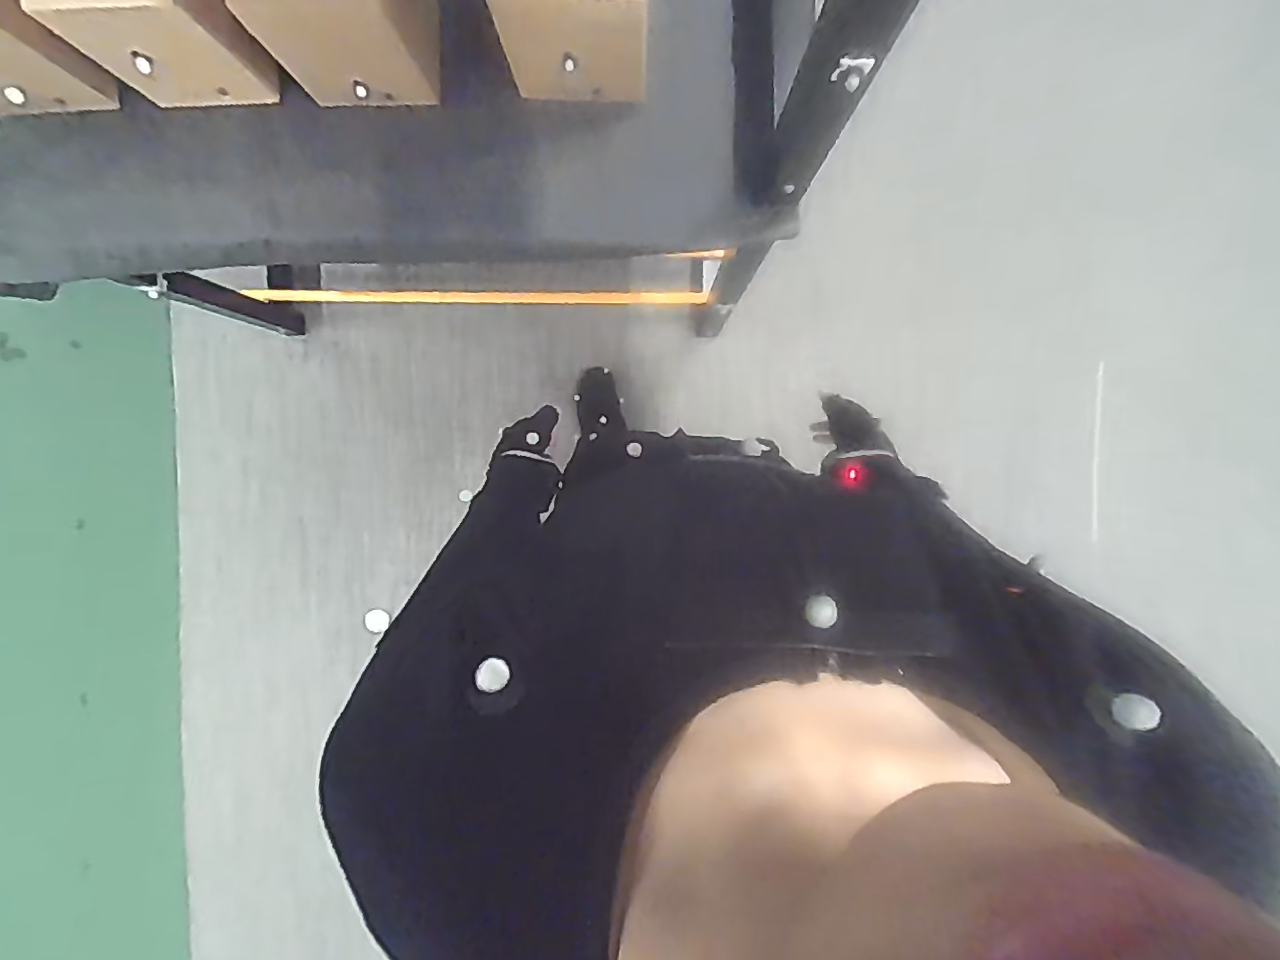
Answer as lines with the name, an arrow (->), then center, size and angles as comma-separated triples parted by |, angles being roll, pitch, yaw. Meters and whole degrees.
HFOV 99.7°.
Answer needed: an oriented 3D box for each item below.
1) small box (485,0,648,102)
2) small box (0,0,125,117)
small box -> -0.075, -0.584, 0.636 | 0.168, 0.176, 0.179 | 3, 93, 1
small box -> -0.784, -0.581, 0.654 | 0.168, 0.176, 0.179 | -2, 93, 2
